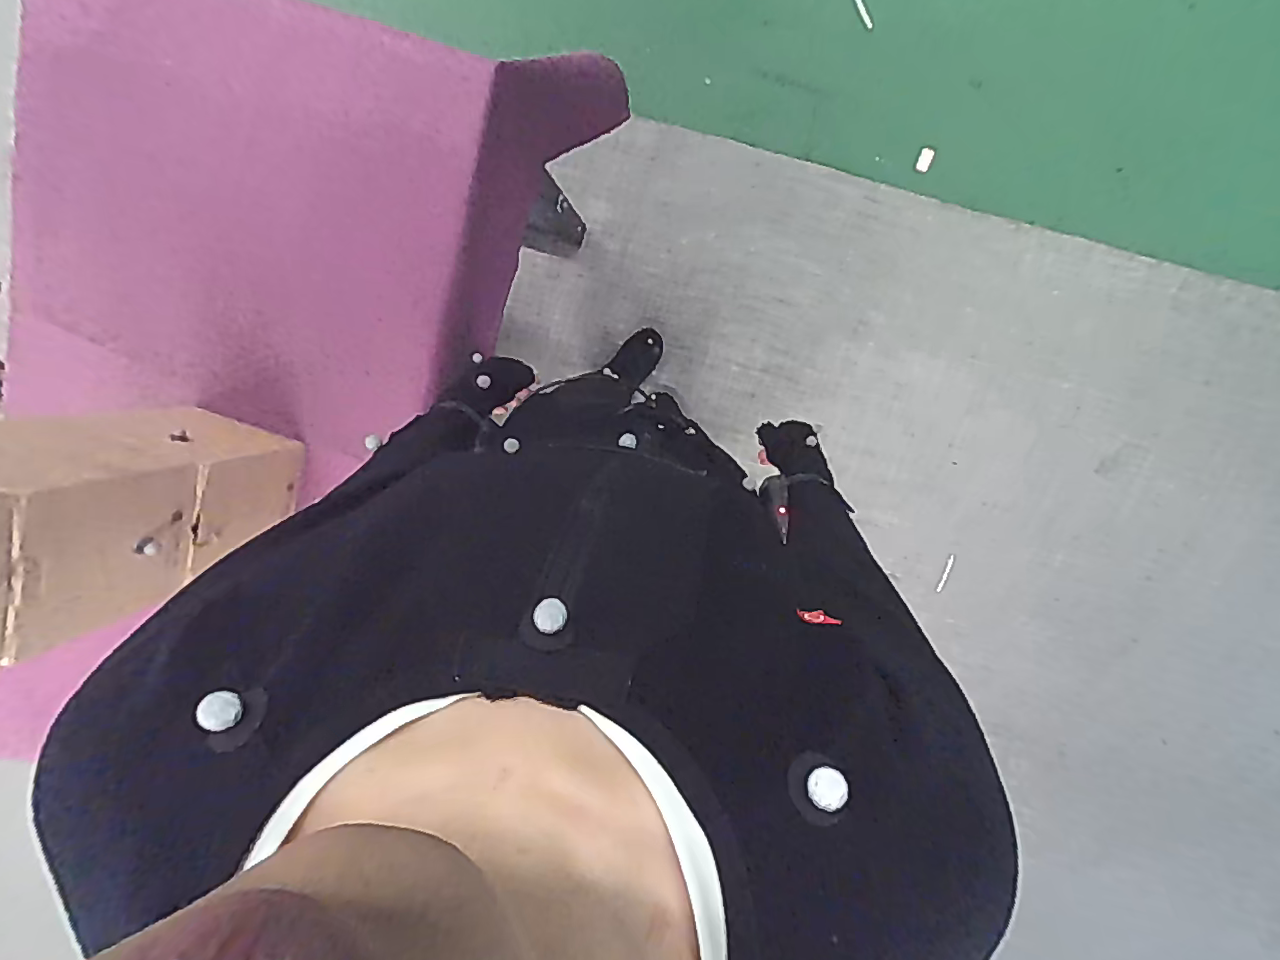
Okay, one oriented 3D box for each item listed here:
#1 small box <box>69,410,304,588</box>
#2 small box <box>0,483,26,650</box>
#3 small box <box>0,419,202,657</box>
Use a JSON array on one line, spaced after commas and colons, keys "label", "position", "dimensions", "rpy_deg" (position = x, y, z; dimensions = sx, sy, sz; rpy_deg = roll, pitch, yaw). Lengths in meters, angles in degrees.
[{"label": "small box", "position": [-0.581, 0.012, 0.705], "dimensions": [0.179, 0.176, 0.168], "rpy_deg": [19, 102, 1]}, {"label": "small box", "position": [-0.619, 0.070, 0.384], "dimensions": [0.179, 0.176, 0.168], "rpy_deg": [18, 102, 1]}, {"label": "small box", "position": [-0.602, 0.042, 0.544], "dimensions": [0.179, 0.176, 0.168], "rpy_deg": [18, 102, 1]}]
